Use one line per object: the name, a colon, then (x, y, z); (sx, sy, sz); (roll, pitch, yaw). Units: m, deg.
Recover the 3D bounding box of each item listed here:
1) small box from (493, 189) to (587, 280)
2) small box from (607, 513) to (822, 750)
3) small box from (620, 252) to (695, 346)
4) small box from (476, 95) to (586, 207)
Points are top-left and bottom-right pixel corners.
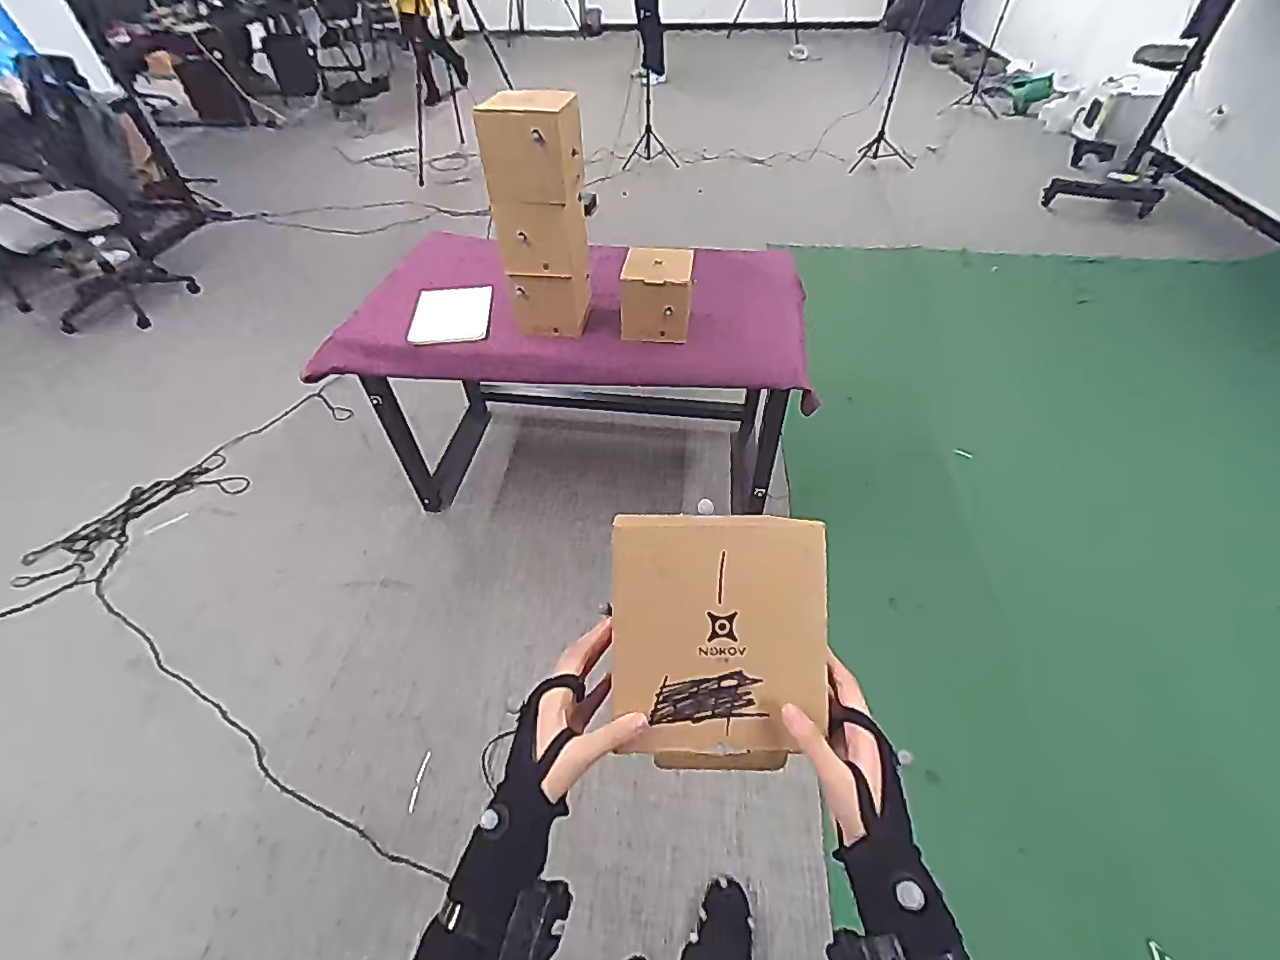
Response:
small box: (-0.224, -0.587, 1.271); (0.168, 0.176, 0.179); (5, 46, 6)
small box: (0.056, 0.122, 0.496); (0.168, 0.176, 0.179); (1, 87, -2)
small box: (0.047, -0.457, 1.368); (0.168, 0.176, 0.179); (6, 46, 6)
small box: (-0.219, -0.696, 1.146); (0.179, 0.176, 0.168); (7, 46, 8)
